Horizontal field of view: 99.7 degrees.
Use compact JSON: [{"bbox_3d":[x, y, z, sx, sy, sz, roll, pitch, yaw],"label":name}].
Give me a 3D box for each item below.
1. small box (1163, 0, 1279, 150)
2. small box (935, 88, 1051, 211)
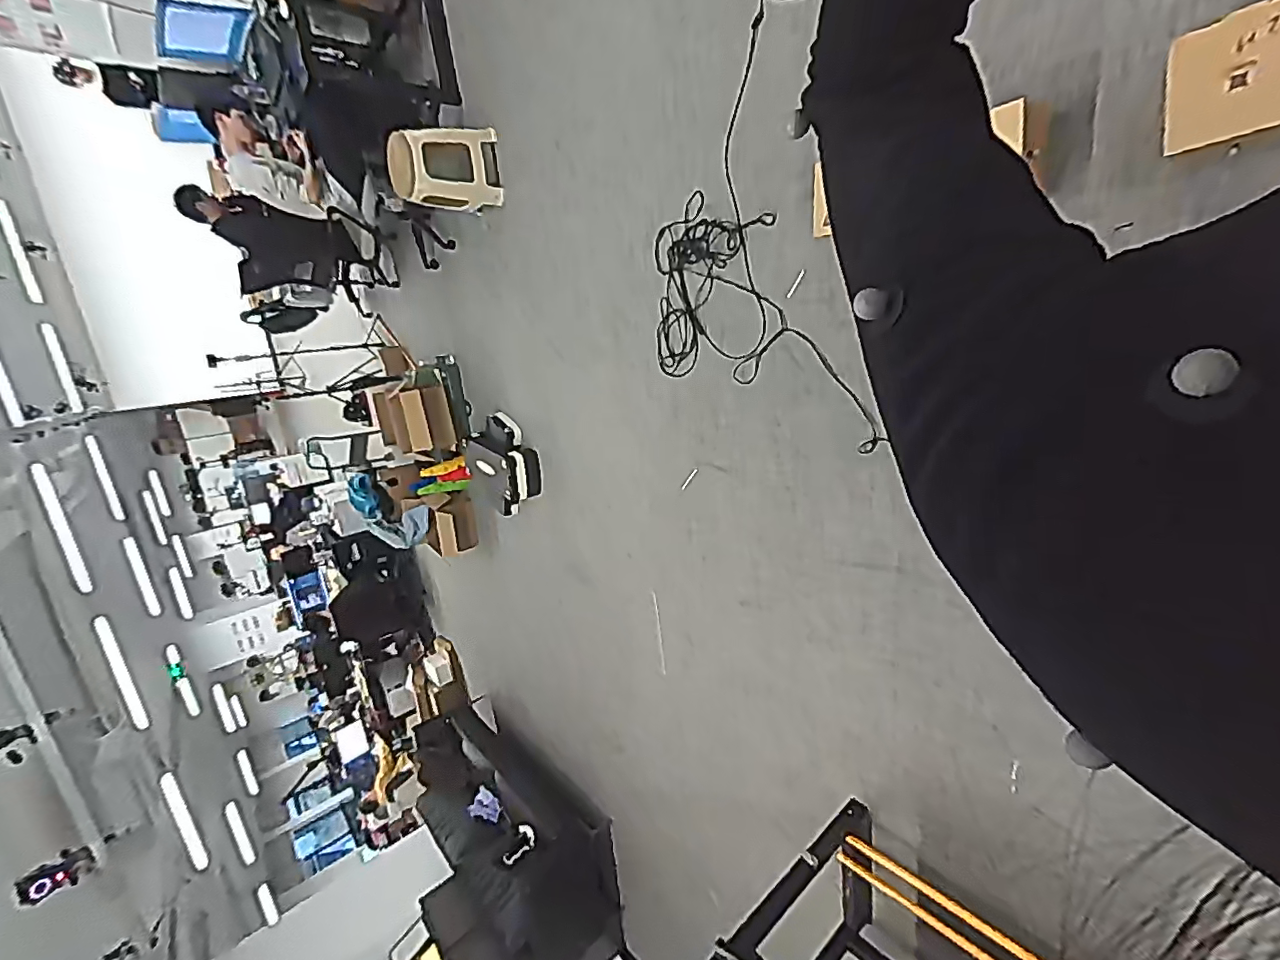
[{"bbox_3d":[0.976,-0.656,0.872,0.168,0.176,0.179,6,110,50],"label":"small box"},{"bbox_3d":[0.749,-0.687,1.149,0.168,0.176,0.179,9,112,50],"label":"small box"}]
